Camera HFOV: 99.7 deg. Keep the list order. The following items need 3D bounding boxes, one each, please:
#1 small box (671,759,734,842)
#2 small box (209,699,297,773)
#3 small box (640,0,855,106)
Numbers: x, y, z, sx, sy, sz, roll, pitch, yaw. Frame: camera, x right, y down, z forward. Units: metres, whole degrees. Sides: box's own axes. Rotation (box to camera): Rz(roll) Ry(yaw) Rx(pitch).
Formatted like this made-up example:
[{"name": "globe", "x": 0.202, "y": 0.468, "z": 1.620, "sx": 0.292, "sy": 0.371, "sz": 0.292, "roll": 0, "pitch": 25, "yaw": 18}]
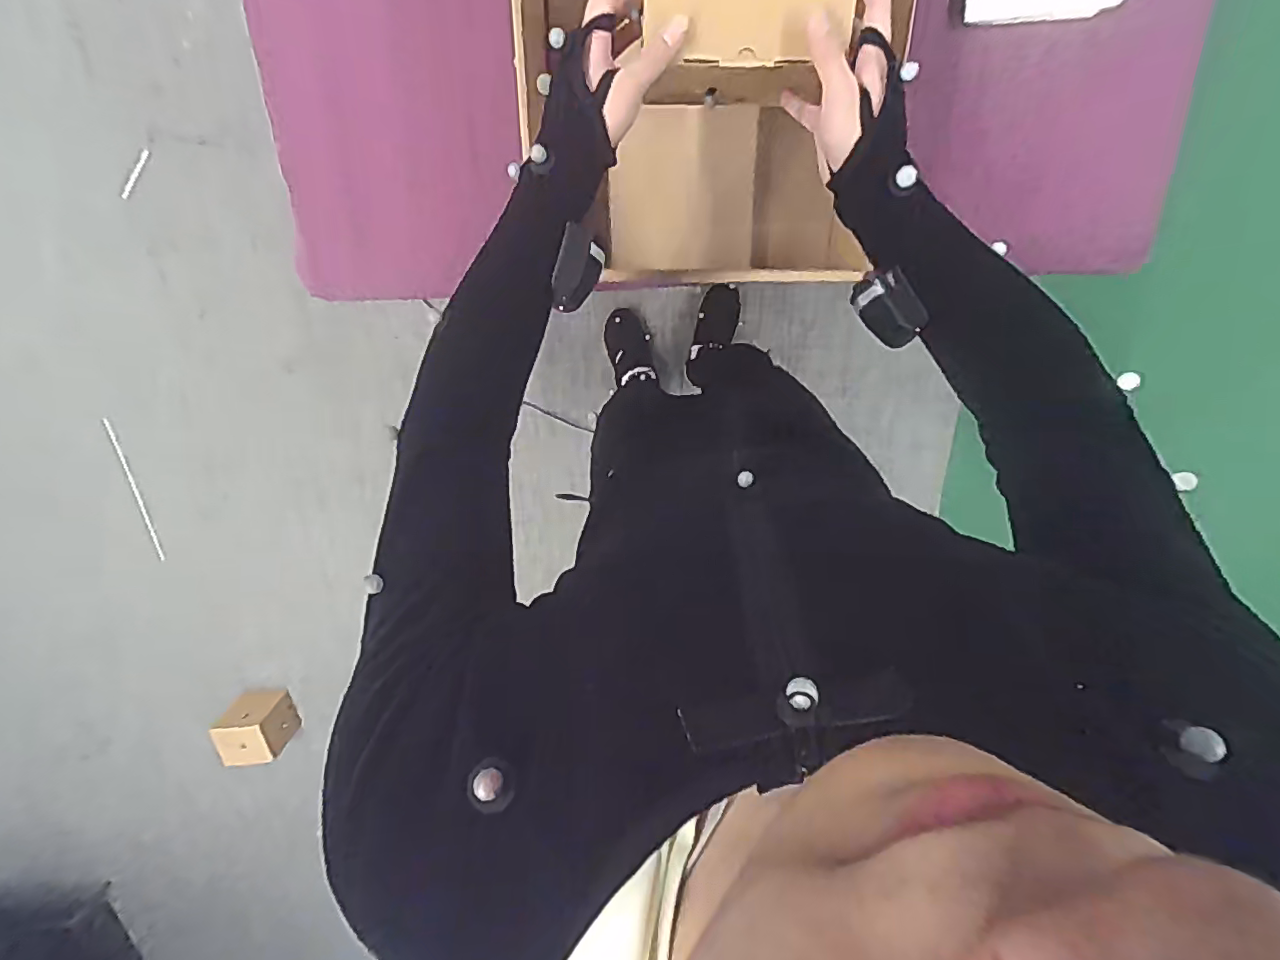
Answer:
[{"name": "small box", "x": 0.226, "y": 1.185, "z": 2.004, "sx": 0.168, "sy": 0.176, "sz": 0.179, "roll": 29, "pitch": 107, "yaw": -10}, {"name": "small box", "x": -1.337, "y": 0.888, "z": 1.887, "sx": 0.179, "sy": 0.176, "sz": 0.168, "roll": -5, "pitch": 109, "yaw": 1}, {"name": "small box", "x": 0.084, "y": -0.450, "z": 0.474, "sx": 0.168, "sy": 0.176, "sz": 0.179, "roll": -1, "pitch": 116, "yaw": -1}]
